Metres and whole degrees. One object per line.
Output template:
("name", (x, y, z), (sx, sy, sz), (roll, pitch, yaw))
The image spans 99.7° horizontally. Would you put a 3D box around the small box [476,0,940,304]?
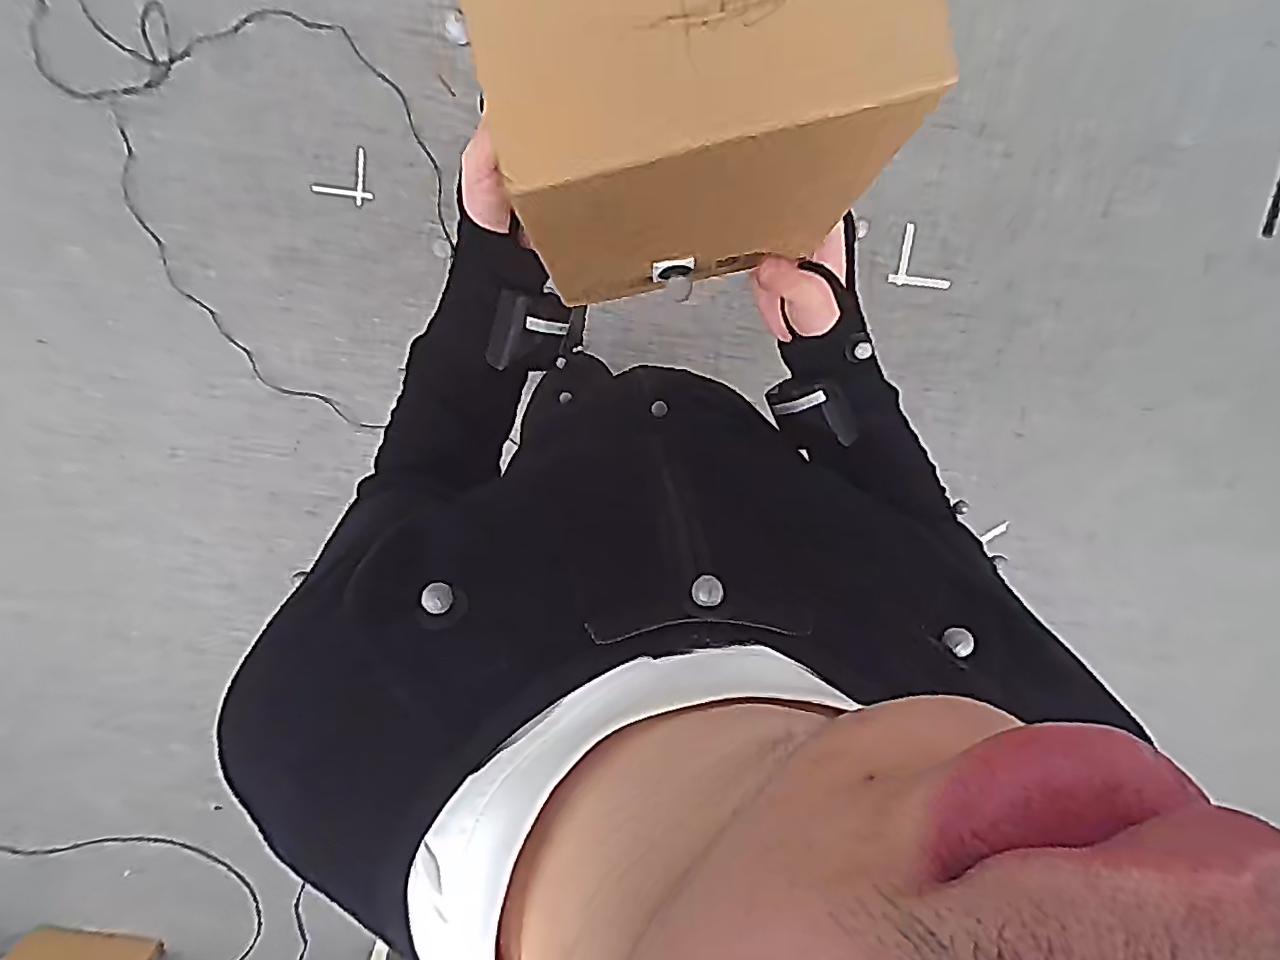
("small box", (0.014, -0.213, 0.279), (0.168, 0.176, 0.179), (-14, 94, 1))
